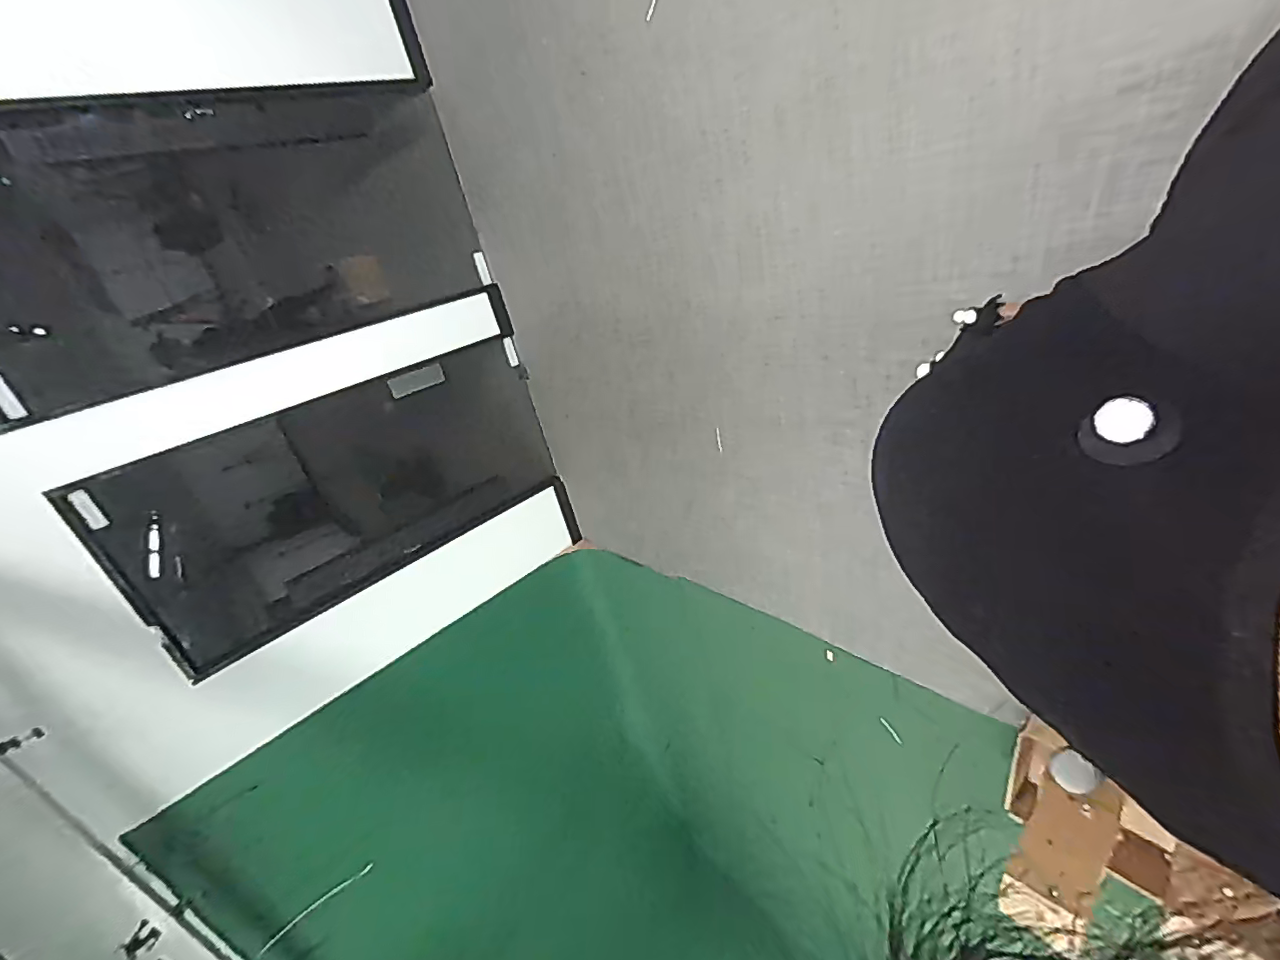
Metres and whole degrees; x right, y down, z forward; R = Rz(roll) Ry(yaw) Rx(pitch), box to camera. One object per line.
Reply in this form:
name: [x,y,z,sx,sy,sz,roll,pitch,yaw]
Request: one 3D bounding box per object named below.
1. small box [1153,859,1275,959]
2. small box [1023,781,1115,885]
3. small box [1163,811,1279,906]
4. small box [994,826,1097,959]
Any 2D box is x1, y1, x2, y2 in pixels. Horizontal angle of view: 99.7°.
small box: [1.326,1.043,1.250,0.168,0.176,0.179,12,122,51]
small box: [1.138,0.963,1.449,0.168,0.176,0.179,20,128,44]
small box: [1.446,0.984,1.347,0.168,0.176,0.179,15,125,50]
small box: [1.018,1.030,1.359,0.168,0.176,0.179,17,128,46]
